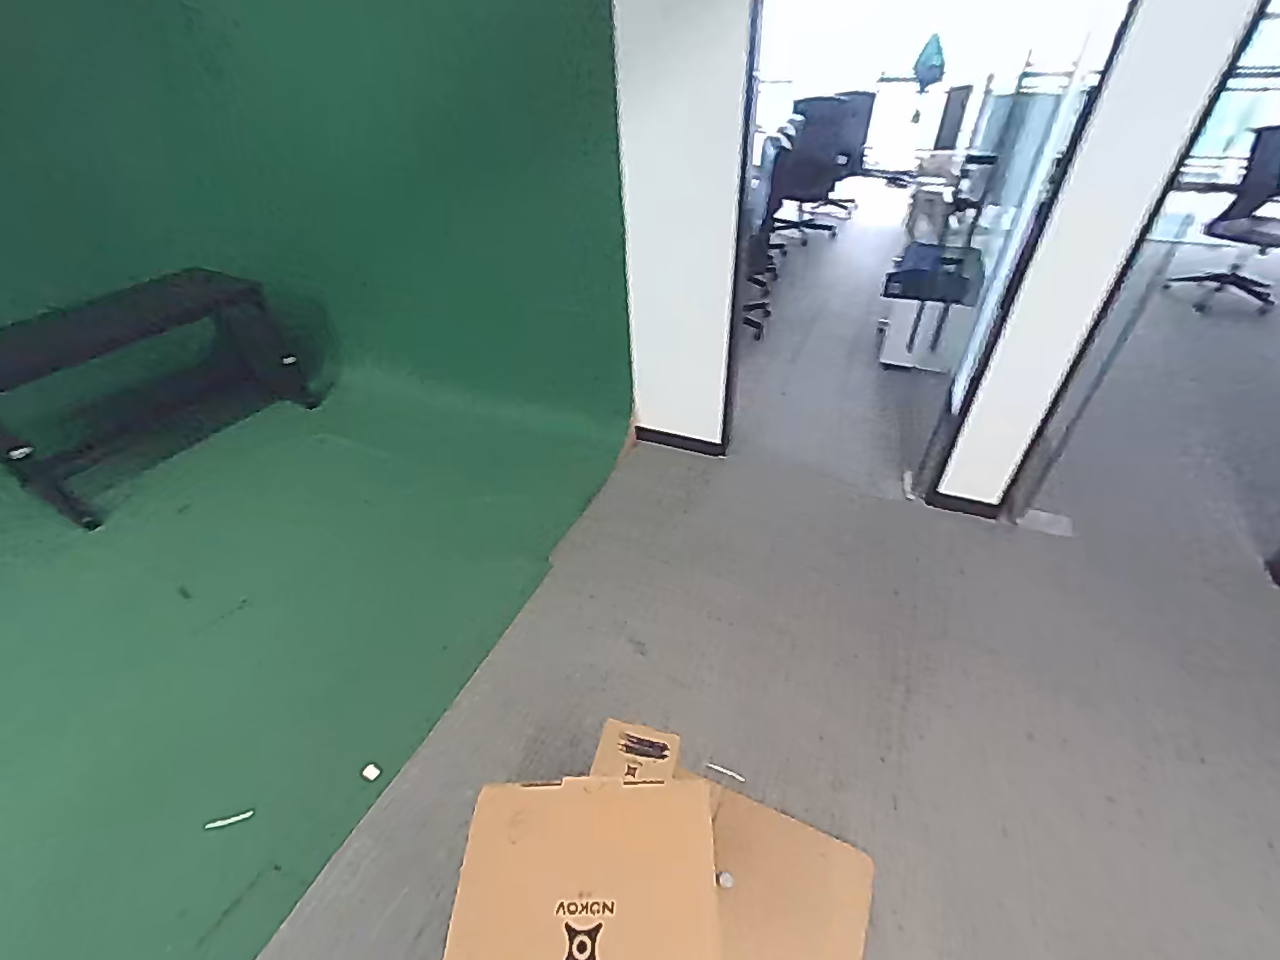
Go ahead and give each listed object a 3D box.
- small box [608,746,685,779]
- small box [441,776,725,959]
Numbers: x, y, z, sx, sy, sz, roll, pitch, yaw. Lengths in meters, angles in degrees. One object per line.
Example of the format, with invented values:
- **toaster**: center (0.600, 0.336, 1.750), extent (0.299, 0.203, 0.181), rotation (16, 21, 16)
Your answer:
- **small box**: center (0.004, 0.762, 1.254), extent (0.168, 0.176, 0.179), rotation (11, 41, 15)
- **small box**: center (-0.028, 0.327, 0.368), extent (0.168, 0.176, 0.179), rotation (-3, 42, 3)
